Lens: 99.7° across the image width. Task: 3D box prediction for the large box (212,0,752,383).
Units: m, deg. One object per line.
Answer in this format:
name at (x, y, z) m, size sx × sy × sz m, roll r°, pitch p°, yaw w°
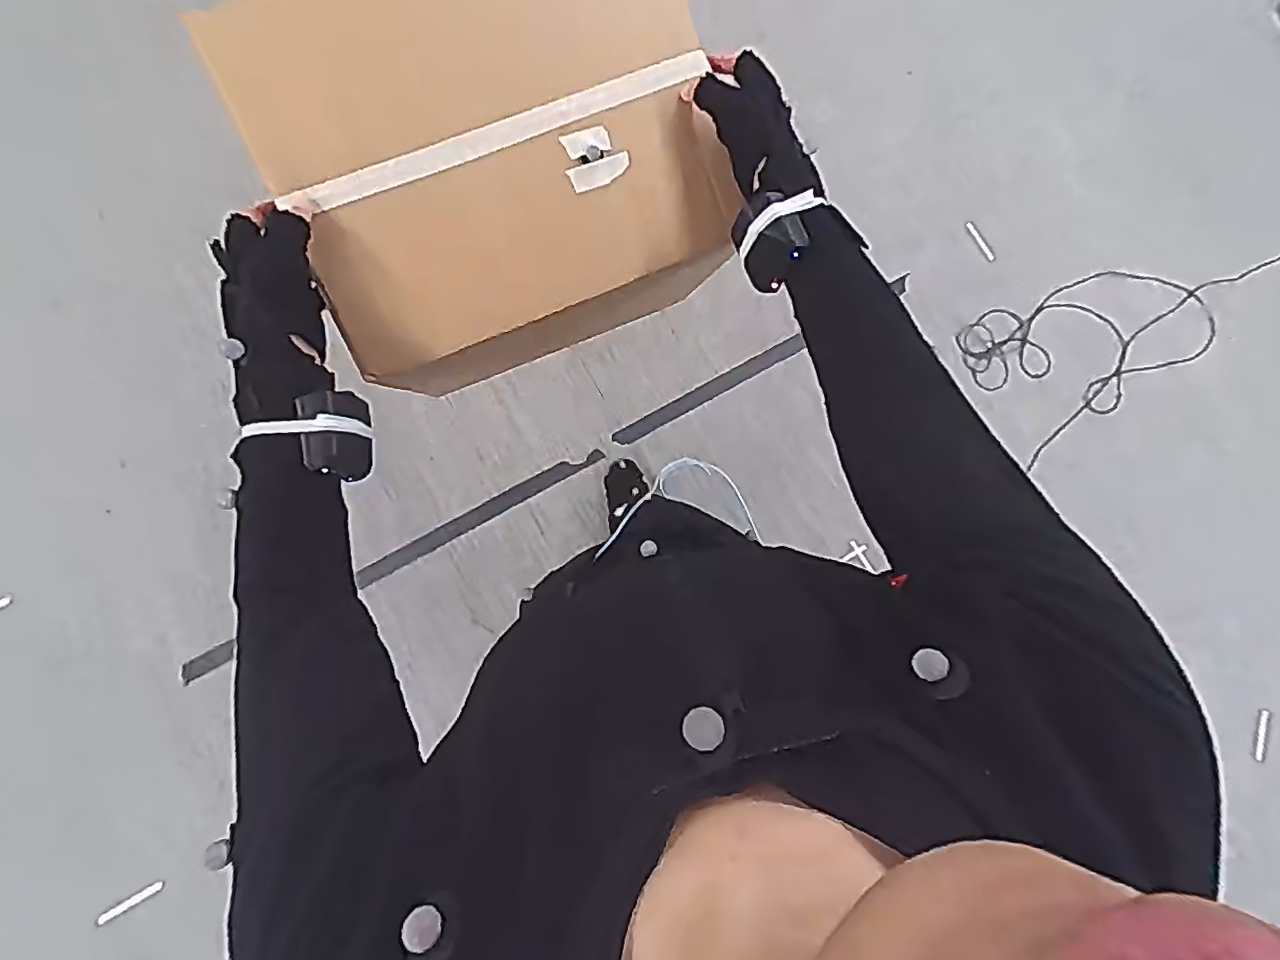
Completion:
large box at (-0.149, -0.340, 0.639) m, size 0.408 × 0.320 × 0.320 m, roll -24°, pitch 100°, yaw -7°
